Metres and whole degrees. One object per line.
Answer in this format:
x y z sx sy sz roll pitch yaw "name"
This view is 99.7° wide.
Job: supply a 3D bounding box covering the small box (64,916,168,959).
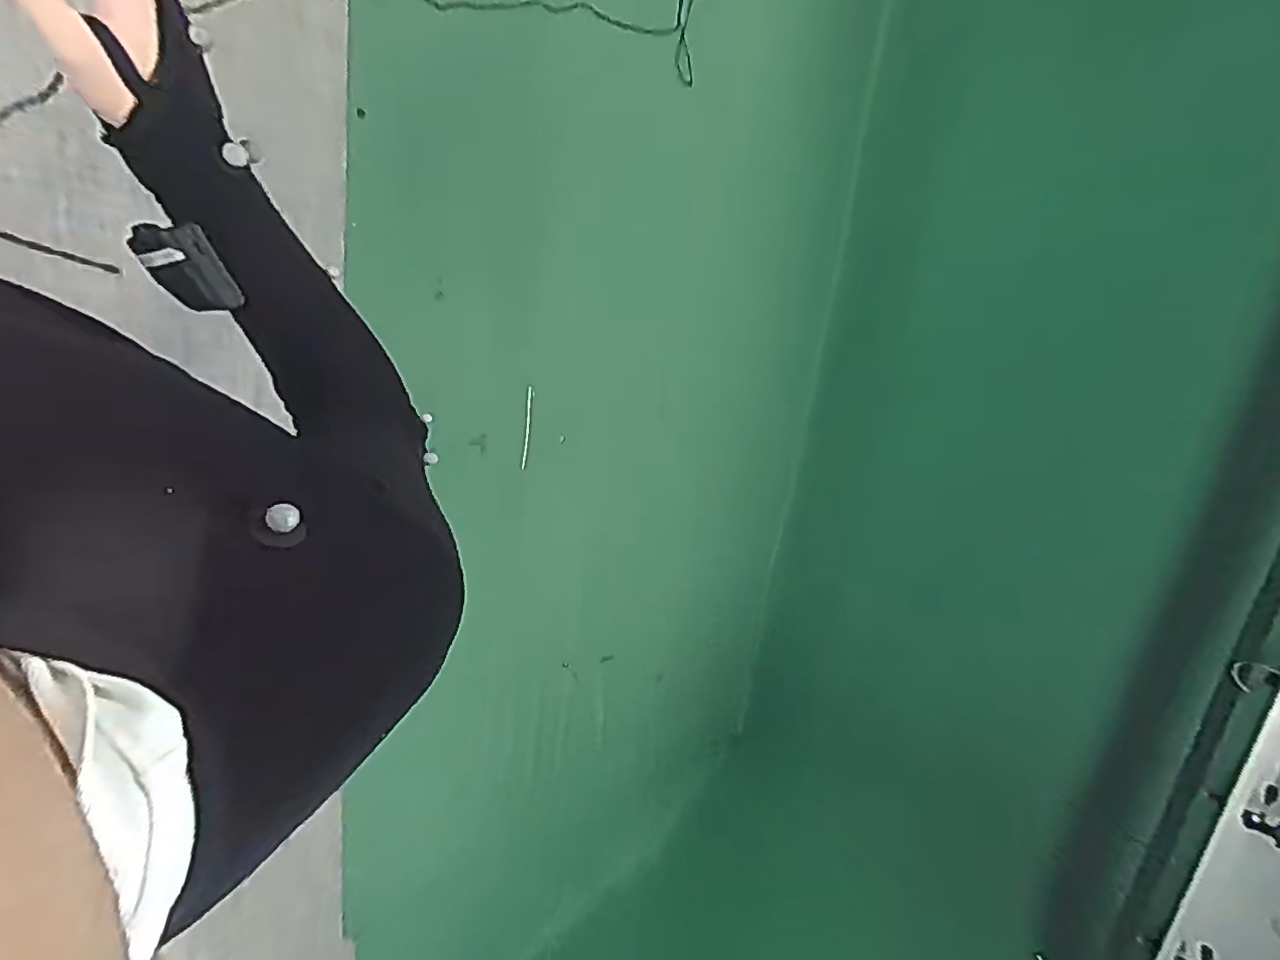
-1.225 1.184 1.257 0.179 0.176 0.168 -2 105 -49 "small box"
